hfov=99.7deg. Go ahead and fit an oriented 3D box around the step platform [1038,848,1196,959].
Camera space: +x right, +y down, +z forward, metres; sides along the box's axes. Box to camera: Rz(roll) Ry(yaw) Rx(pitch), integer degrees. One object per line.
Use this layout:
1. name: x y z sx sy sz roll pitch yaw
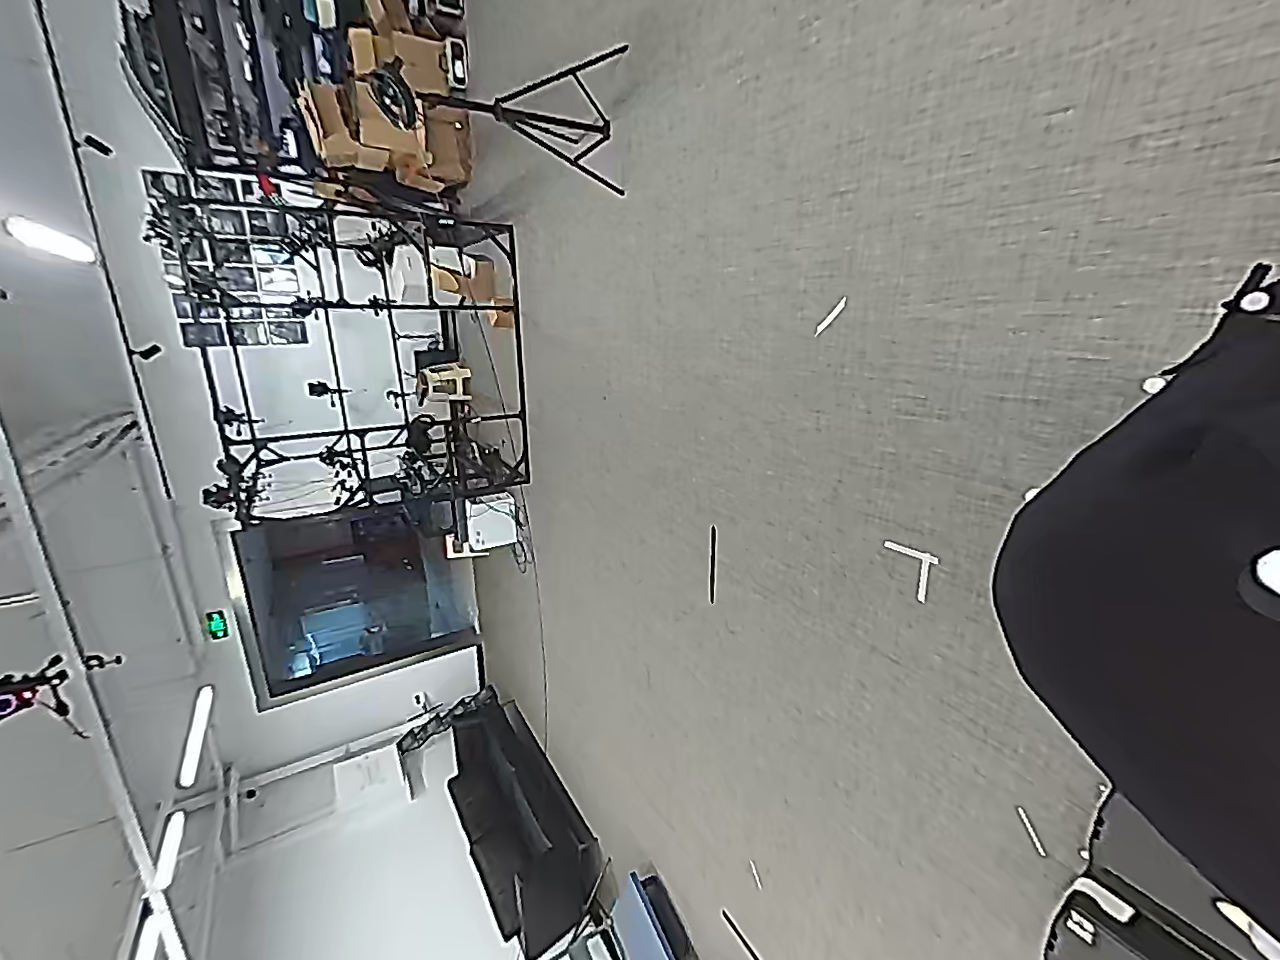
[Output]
1. step platform: 1.223 1.137 1.087 0.684 0.204 0.286 26 121 57
